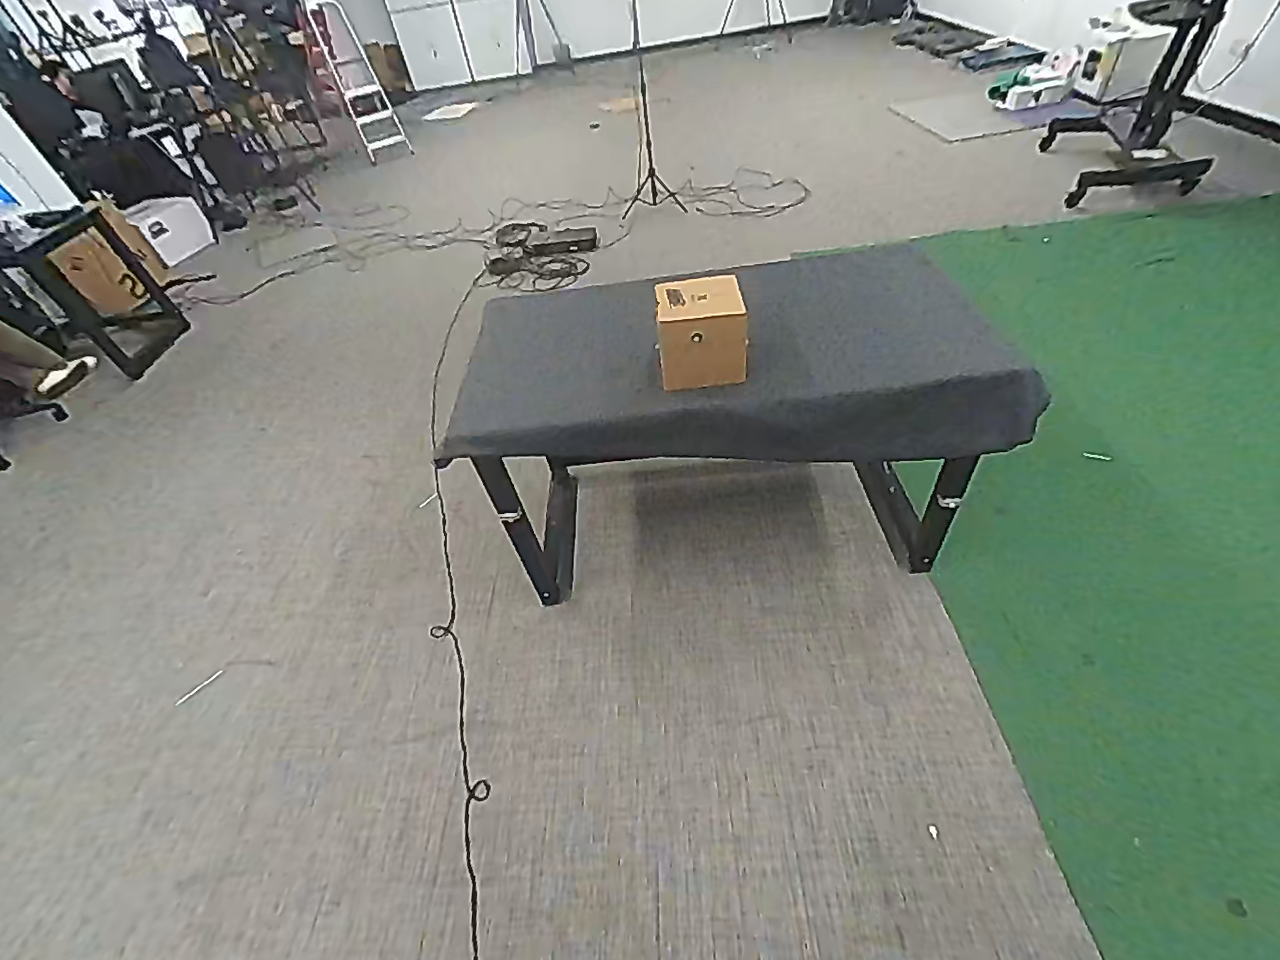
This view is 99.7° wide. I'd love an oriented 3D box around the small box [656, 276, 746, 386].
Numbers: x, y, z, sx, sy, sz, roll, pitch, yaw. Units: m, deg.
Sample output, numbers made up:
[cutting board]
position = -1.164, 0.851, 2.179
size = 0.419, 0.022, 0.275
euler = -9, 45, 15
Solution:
[small box]
position = 0.131, -0.319, 1.172
size = 0.179, 0.176, 0.168
euler = -5, 46, 4
